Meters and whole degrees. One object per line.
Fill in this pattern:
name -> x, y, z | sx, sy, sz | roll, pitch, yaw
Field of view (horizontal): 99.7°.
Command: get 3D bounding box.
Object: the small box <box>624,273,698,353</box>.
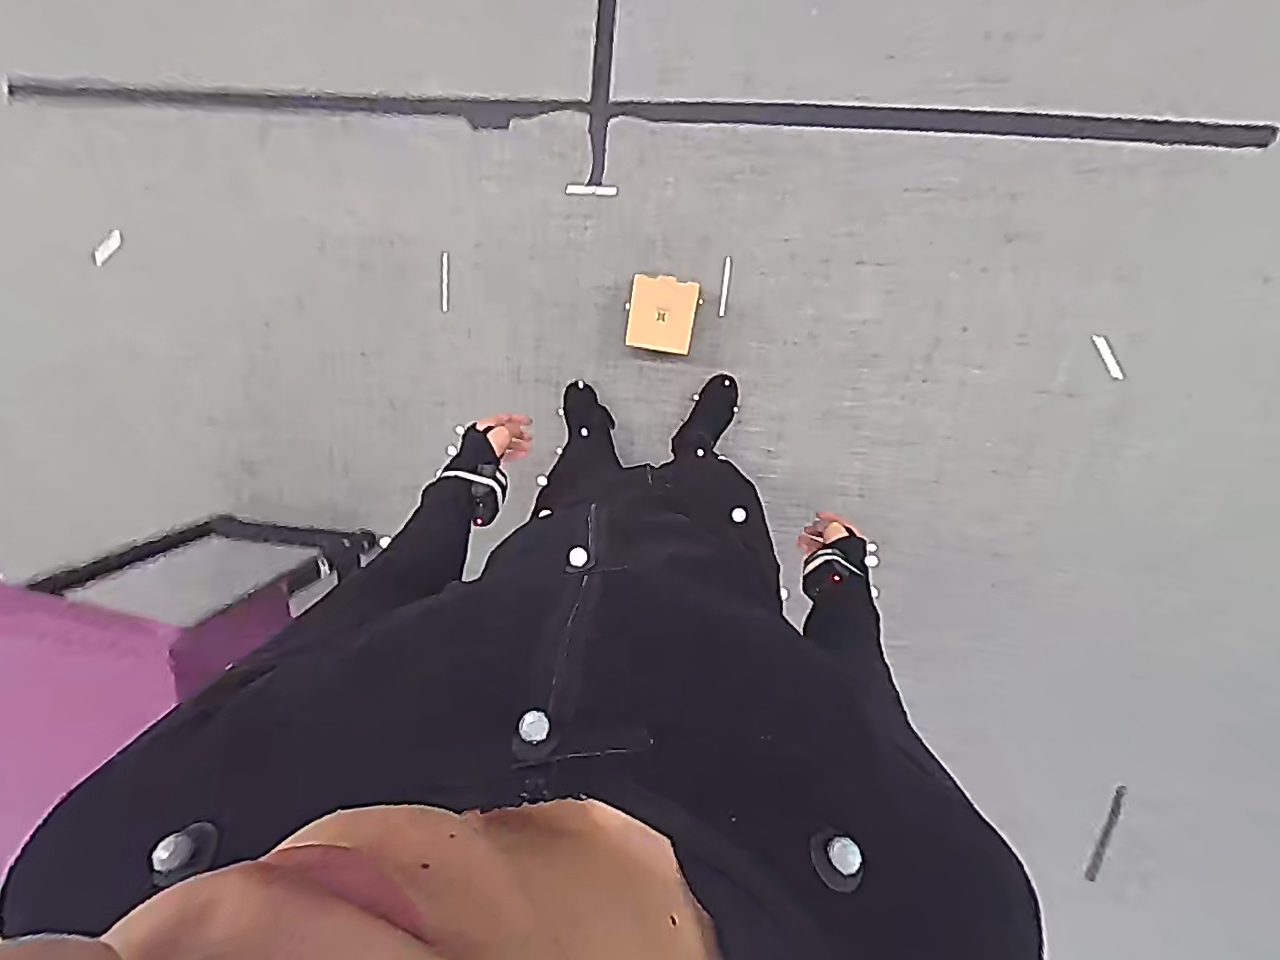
small box -> 0.062, -0.440, 1.438 | 0.168, 0.176, 0.179 | 10, 105, 4

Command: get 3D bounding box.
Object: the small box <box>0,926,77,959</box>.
small box -> -1.246, 1.010, 1.041 | 0.179, 0.176, 0.168 | 1, 105, 6

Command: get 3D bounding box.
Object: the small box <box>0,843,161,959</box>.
small box -> -1.219, 0.948, 1.193 | 0.168, 0.176, 0.179 | -4, 103, 8
